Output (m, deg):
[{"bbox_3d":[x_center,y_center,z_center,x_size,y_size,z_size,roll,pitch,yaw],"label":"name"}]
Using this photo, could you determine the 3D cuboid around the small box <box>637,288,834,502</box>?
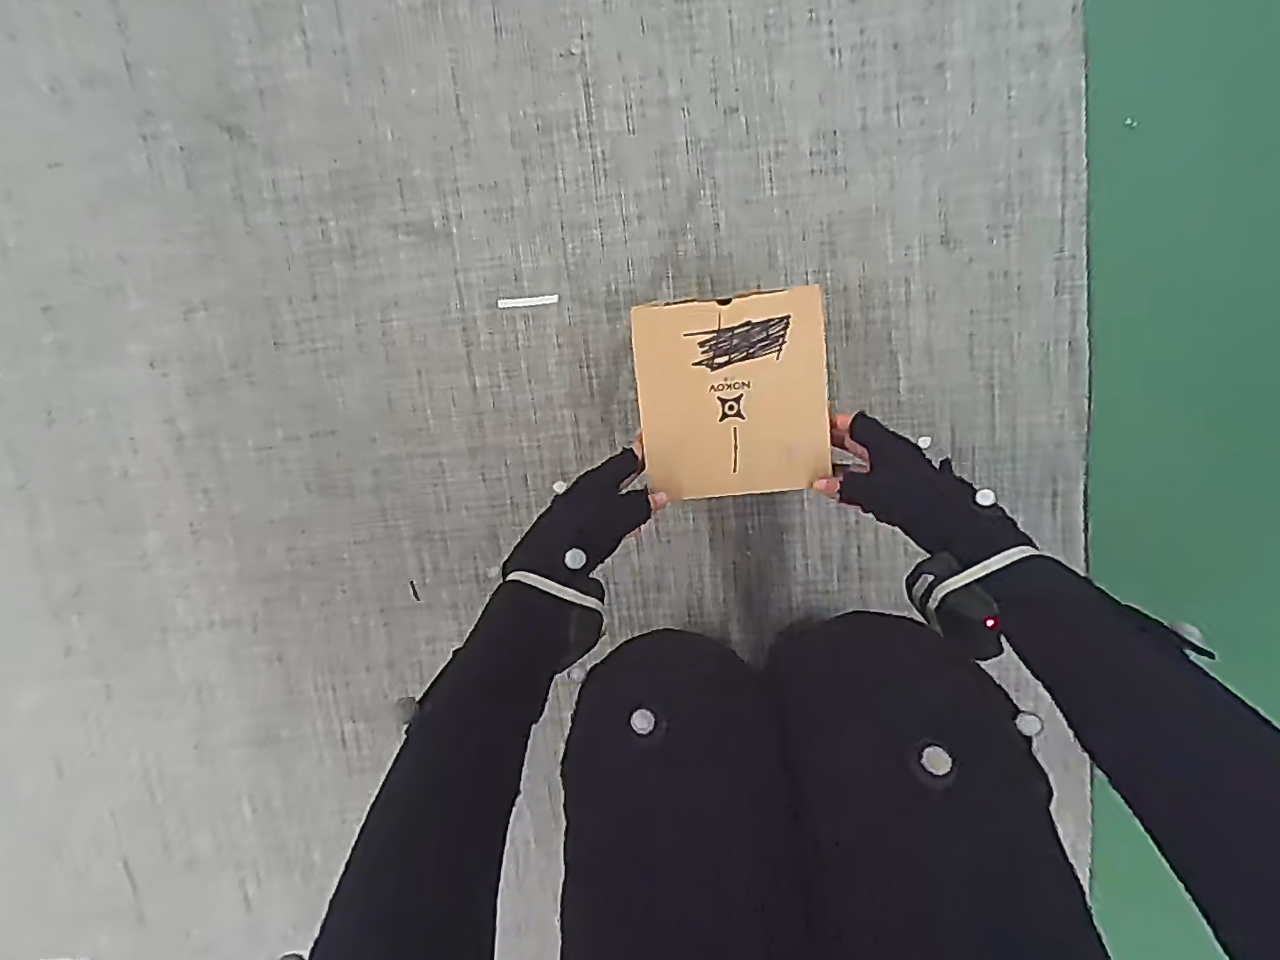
[{"bbox_3d":[0.089,-0.083,0.554,0.168,0.176,0.179,-5,99,5],"label":"small box"}]
